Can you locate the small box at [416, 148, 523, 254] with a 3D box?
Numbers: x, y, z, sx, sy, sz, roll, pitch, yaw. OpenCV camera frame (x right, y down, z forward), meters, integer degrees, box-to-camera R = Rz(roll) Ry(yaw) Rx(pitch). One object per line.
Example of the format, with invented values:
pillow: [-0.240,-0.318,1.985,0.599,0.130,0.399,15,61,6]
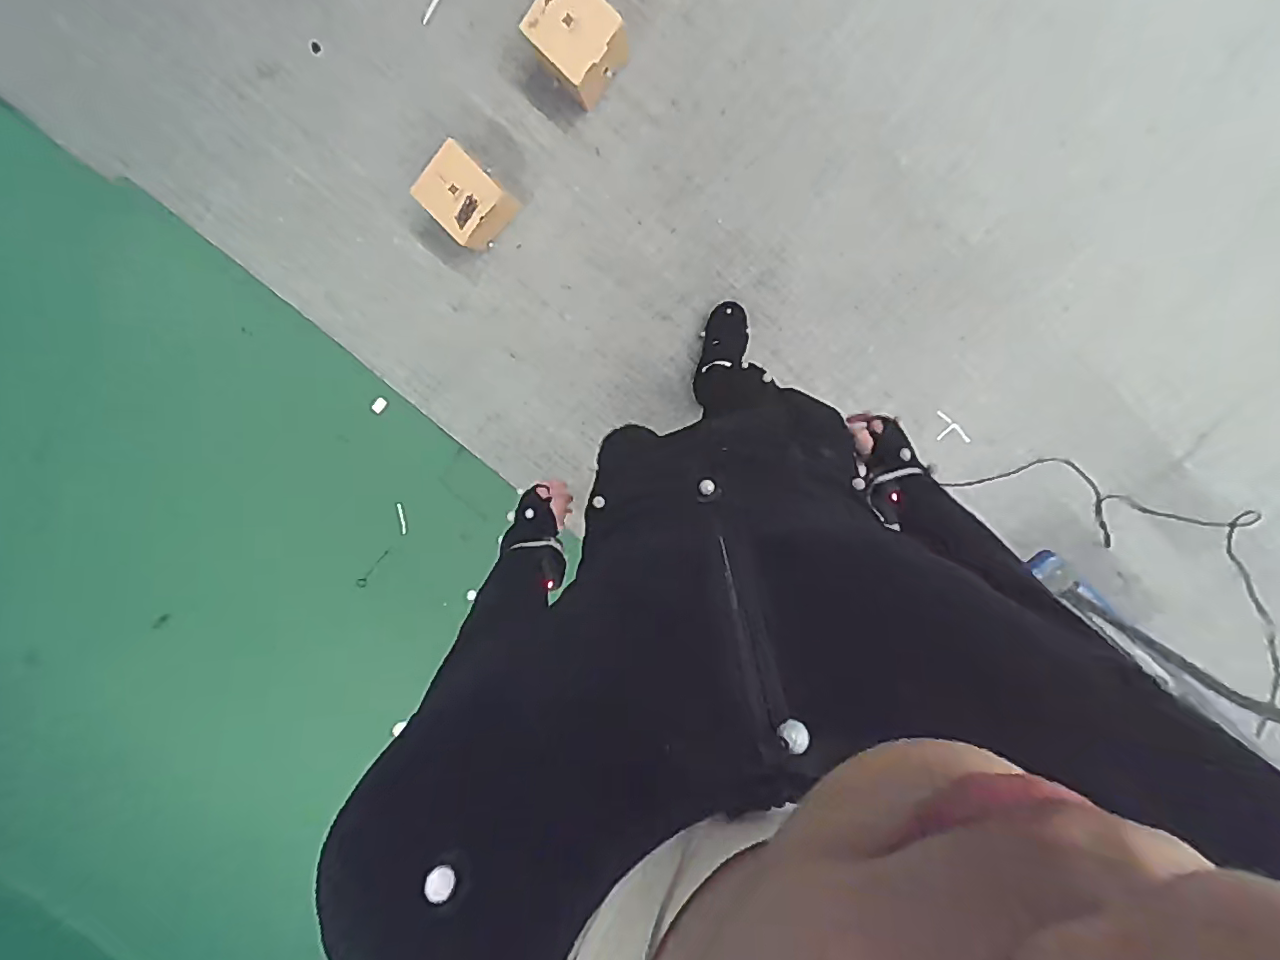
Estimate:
small box: [-0.432,-0.710,1.402,0.168,0.176,0.179,-43,99,14]

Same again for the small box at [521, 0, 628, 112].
small box: [-0.143,-1.011,1.271,0.179,0.176,0.168,42,105,-9]
